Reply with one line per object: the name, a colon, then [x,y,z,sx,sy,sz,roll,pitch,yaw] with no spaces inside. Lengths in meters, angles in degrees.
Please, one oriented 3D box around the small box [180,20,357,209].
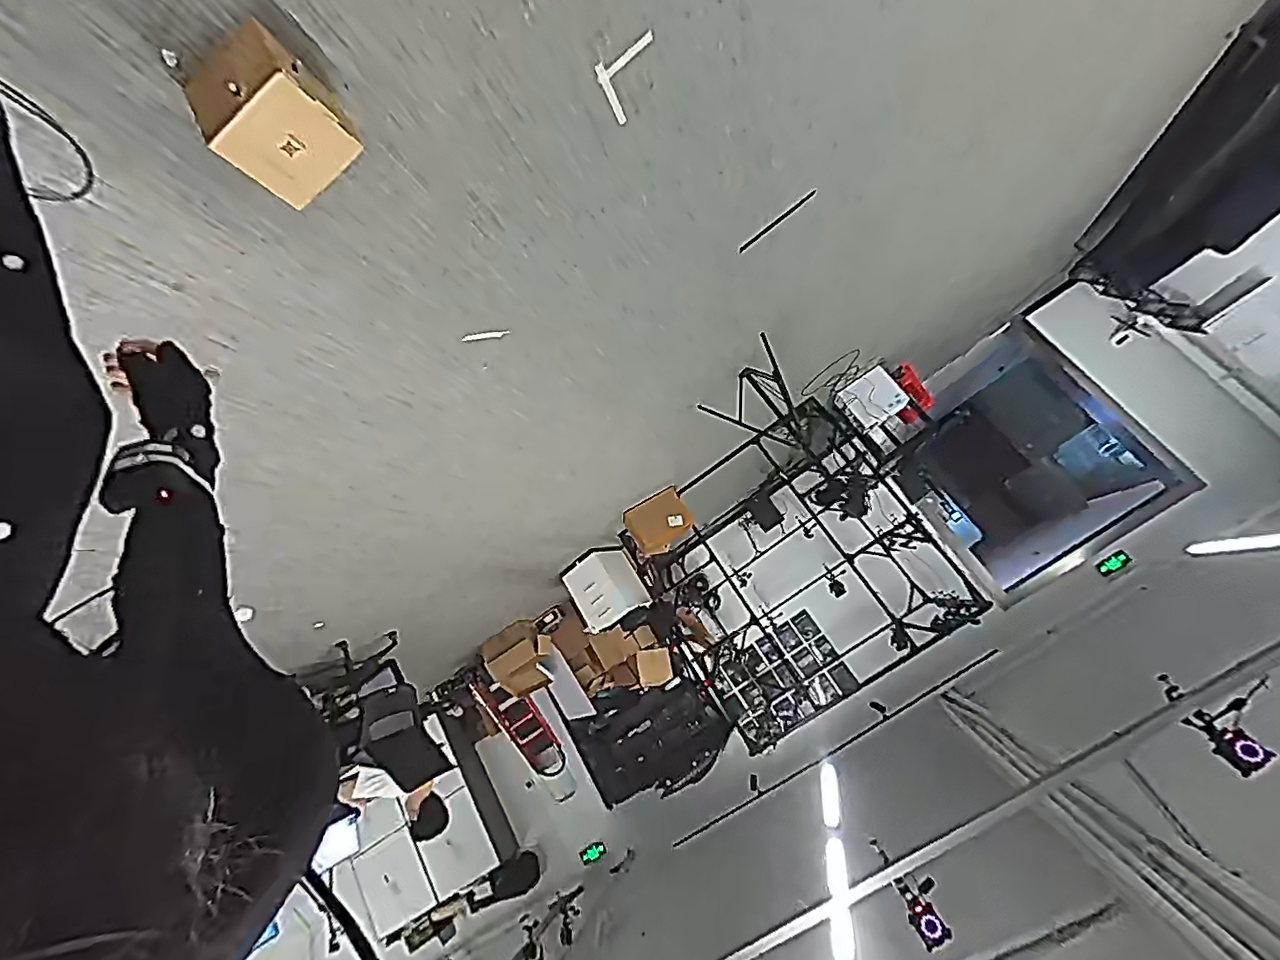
small box: [-0.638,-0.623,0.929,0.179,0.176,0.168,-36,161,9]
